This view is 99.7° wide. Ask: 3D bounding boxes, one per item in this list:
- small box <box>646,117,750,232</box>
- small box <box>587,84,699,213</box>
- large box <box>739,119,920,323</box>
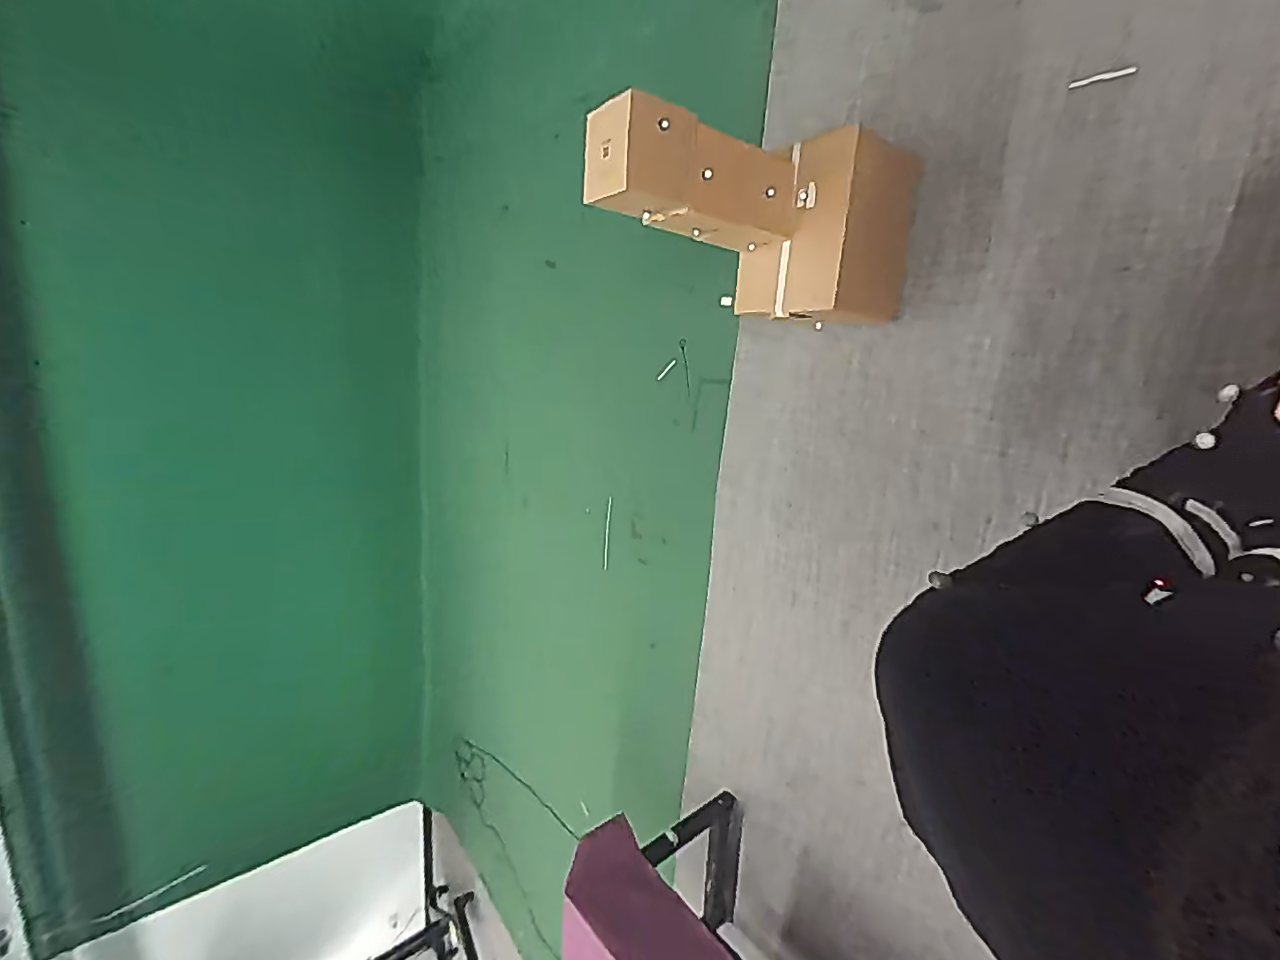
[{"bbox_3d":[0.133,-0.687,1.236,0.168,0.176,0.179,19,110,51],"label":"small box"},{"bbox_3d":[0.006,-0.680,1.133,0.168,0.176,0.179,22,113,51],"label":"small box"},{"bbox_3d":[0.497,-0.646,1.441,0.320,0.320,0.408,18,107,49],"label":"large box"}]
